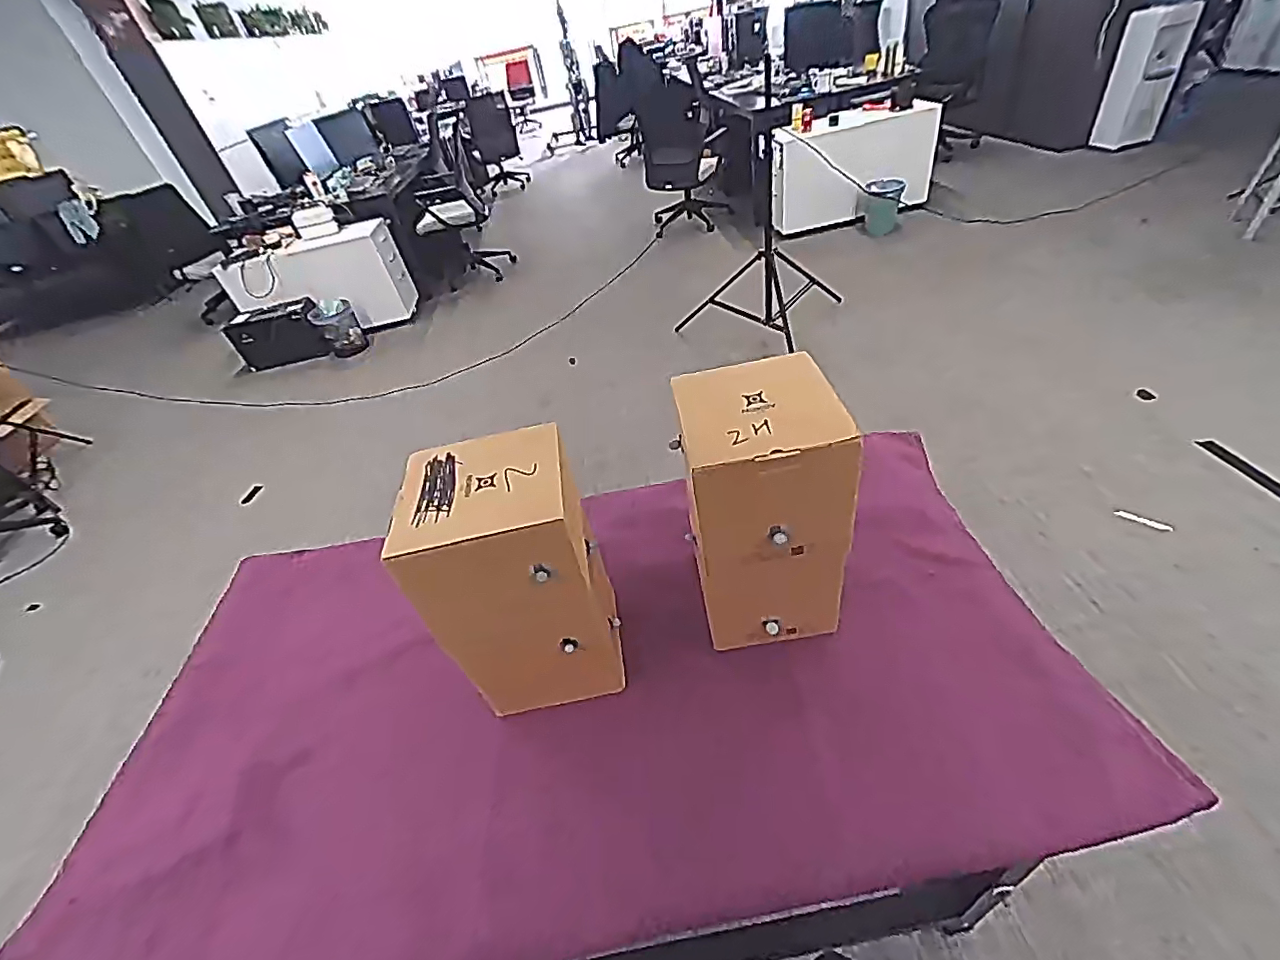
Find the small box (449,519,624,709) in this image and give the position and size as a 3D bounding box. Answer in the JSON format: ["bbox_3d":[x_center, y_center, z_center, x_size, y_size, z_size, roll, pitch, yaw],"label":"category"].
[{"bbox_3d":[-0.129,0.181,0.721,0.179,0.176,0.168,-12,40,0],"label":"small box"}]

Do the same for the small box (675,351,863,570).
[{"bbox_3d":[0.138,-0.023,0.627,0.168,0.176,0.179,-11,41,4],"label":"small box"}]

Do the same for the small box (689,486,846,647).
[{"bbox_3d":[0.163,0.100,0.736,0.168,0.176,0.179,-10,41,4],"label":"small box"}]
